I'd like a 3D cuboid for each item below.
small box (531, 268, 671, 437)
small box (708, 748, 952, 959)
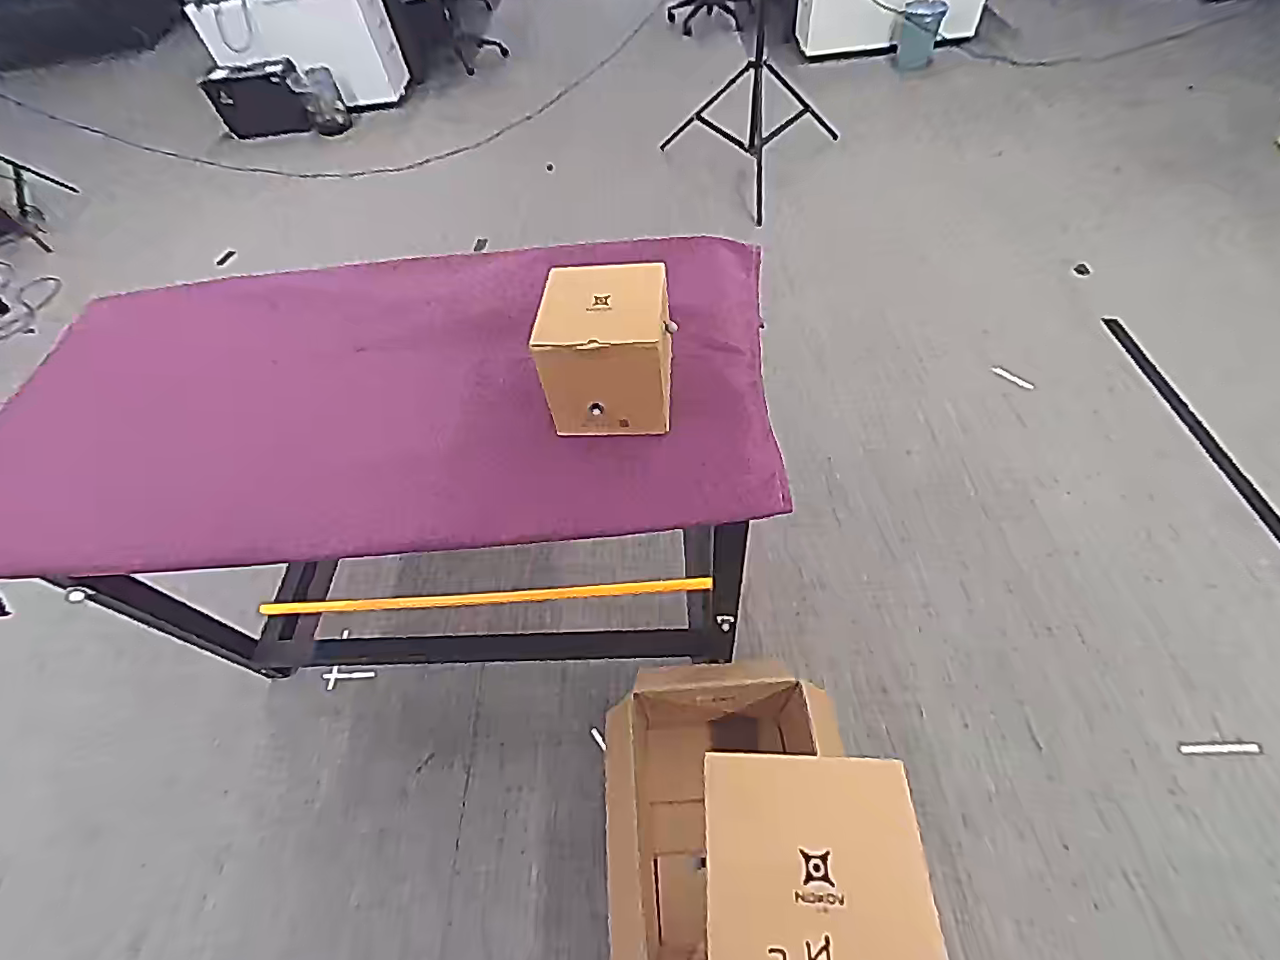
[{"bbox_3d":[-0.044,-0.182,0.784,0.168,0.176,0.179,-1,53,7],"label":"small box"},{"bbox_3d":[0.142,0.348,0.463,0.168,0.176,0.179,-2,51,8],"label":"small box"}]
